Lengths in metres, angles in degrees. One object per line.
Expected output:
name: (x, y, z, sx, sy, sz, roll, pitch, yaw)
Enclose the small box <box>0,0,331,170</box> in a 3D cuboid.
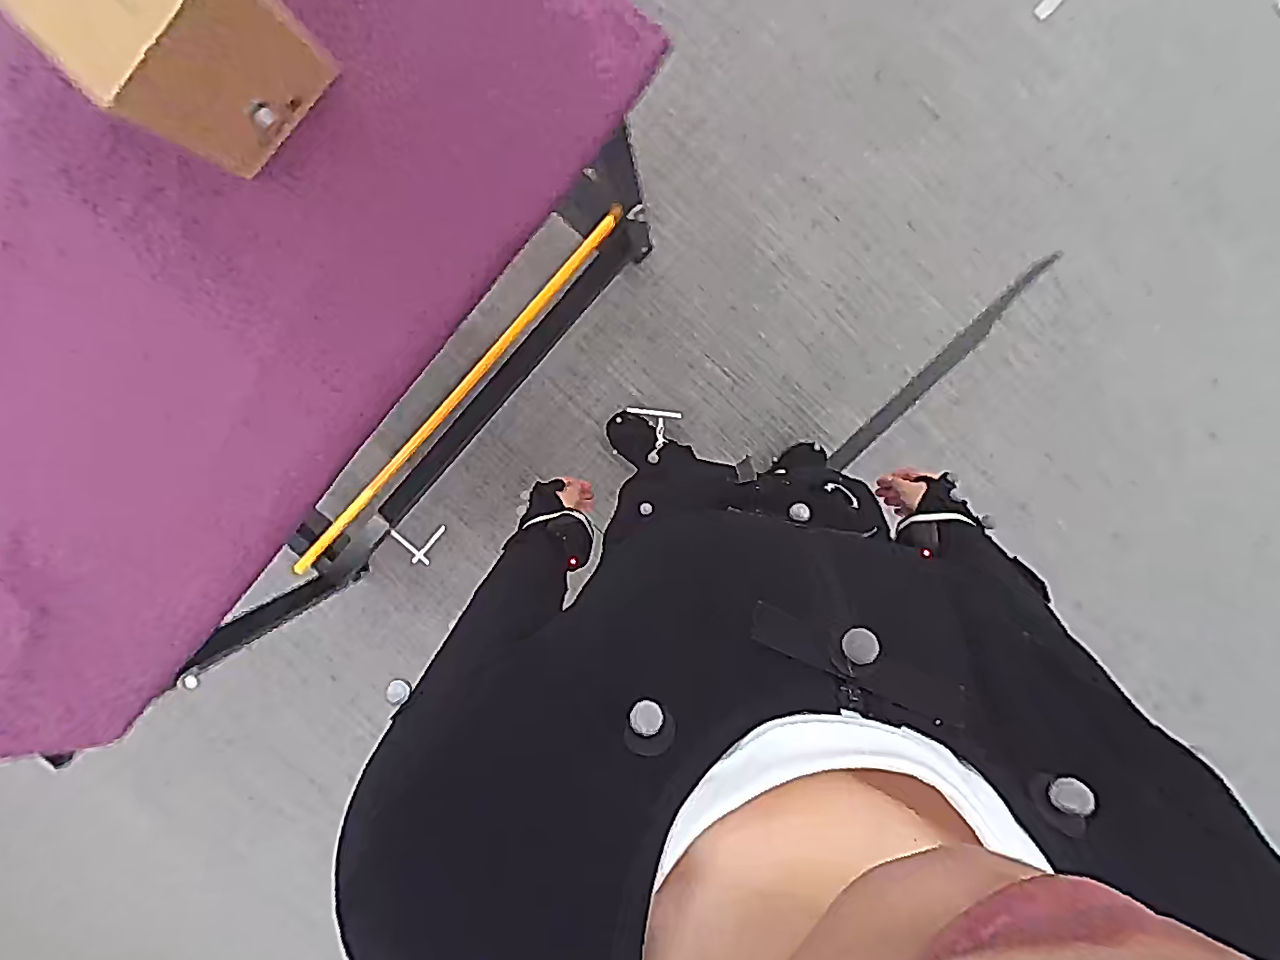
small box: (-0.455, -0.448, 0.523, 0.168, 0.176, 0.179, -43, 95, 9)
